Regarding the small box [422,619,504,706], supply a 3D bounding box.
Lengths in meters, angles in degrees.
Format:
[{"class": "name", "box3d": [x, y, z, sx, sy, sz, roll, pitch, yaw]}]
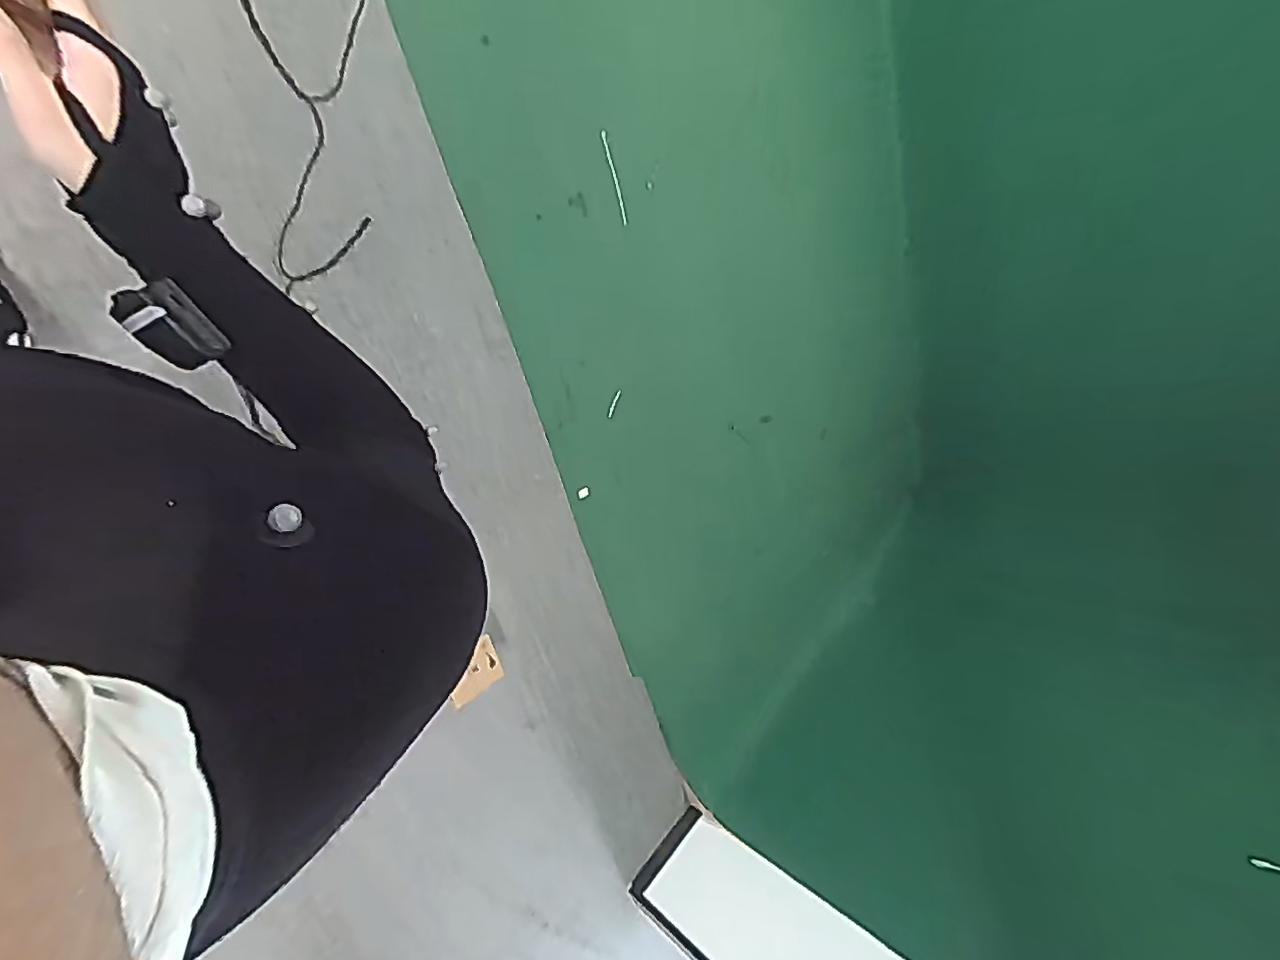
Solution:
[{"class": "small box", "box3d": [-0.566, 0.571, 1.713, 0.179, 0.176, 0.168, -30, 116, -35]}]

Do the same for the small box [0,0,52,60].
[{"class": "small box", "box3d": [-0.464, -0.362, 0.285, 0.179, 0.176, 0.168, -14, 112, -40]}]
